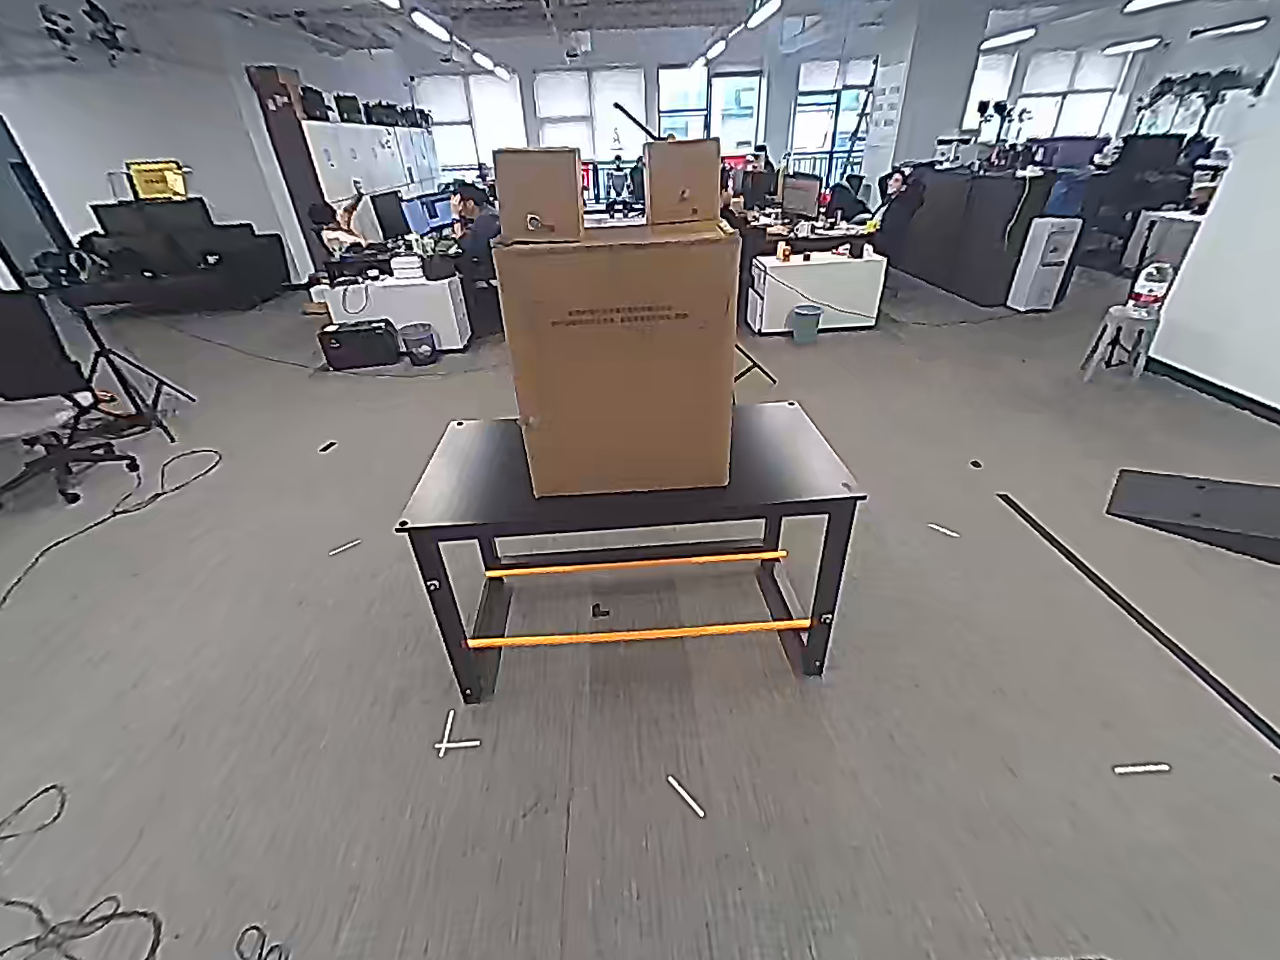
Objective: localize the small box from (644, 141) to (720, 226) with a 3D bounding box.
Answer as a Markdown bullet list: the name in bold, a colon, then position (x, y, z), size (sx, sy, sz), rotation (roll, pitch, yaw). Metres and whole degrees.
- **small box**: position (0.098, -0.721, 1.320), size (0.168, 0.176, 0.179), rotation (-5, 30, -1)

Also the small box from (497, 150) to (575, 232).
- **small box**: position (-0.251, -0.710, 1.329), size (0.168, 0.176, 0.179), rotation (-6, 31, -7)
